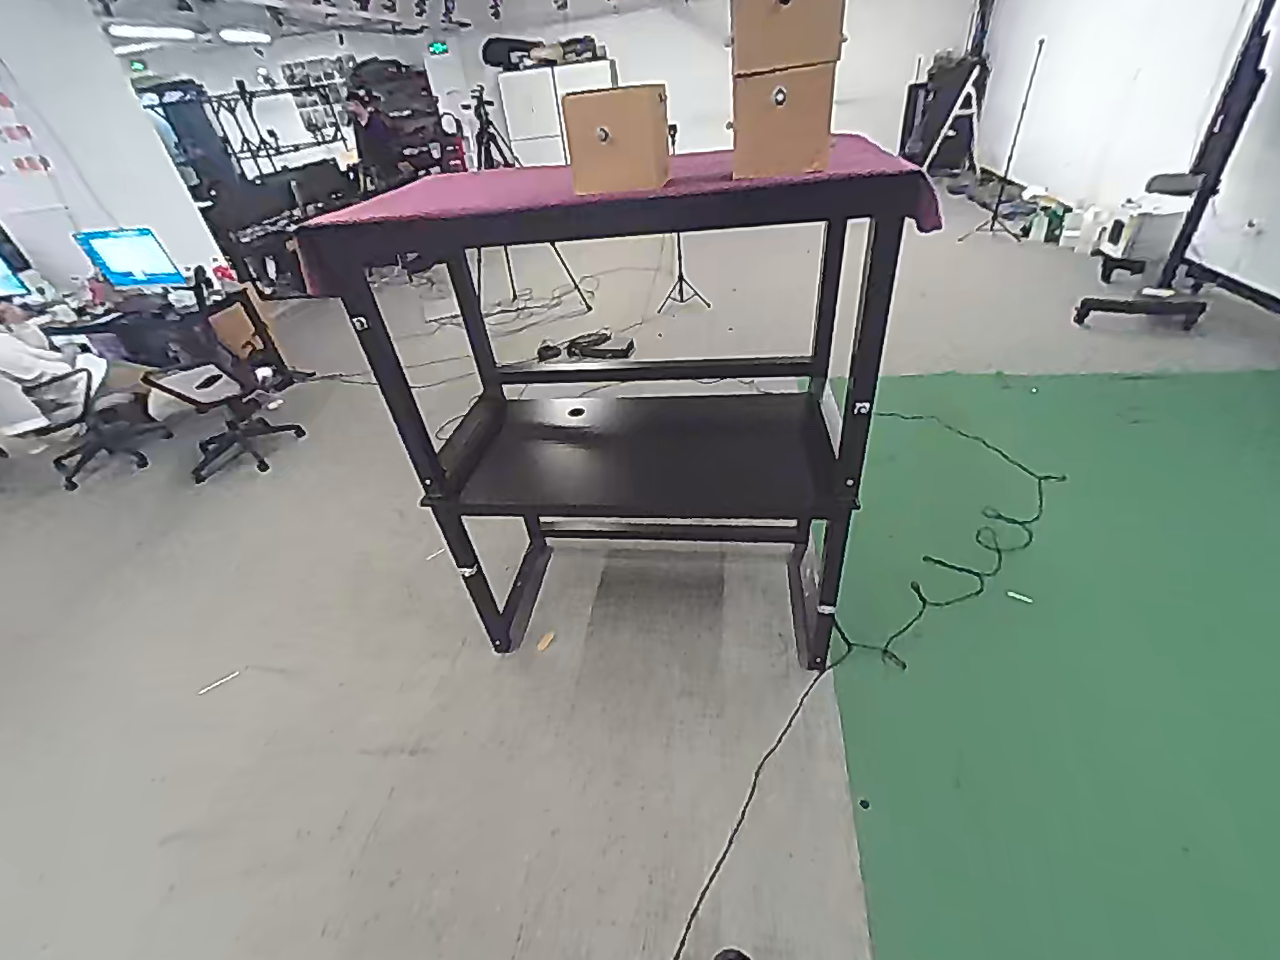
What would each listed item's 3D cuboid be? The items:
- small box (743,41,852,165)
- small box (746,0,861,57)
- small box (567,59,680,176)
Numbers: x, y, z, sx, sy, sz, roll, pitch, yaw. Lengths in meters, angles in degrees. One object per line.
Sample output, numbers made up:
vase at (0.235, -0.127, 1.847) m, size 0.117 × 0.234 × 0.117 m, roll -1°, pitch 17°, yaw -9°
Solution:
small box at (0.284, -0.689, 0.997) m, size 0.179 × 0.176 × 0.168 m, roll 4°, pitch 38°, yaw 13°
small box at (0.269, -0.819, 0.898) m, size 0.179 × 0.176 × 0.168 m, roll -1°, pitch 37°, yaw 9°
small box at (-0.022, -0.694, 1.041) m, size 0.179 × 0.176 × 0.168 m, roll 3°, pitch 38°, yaw 12°
